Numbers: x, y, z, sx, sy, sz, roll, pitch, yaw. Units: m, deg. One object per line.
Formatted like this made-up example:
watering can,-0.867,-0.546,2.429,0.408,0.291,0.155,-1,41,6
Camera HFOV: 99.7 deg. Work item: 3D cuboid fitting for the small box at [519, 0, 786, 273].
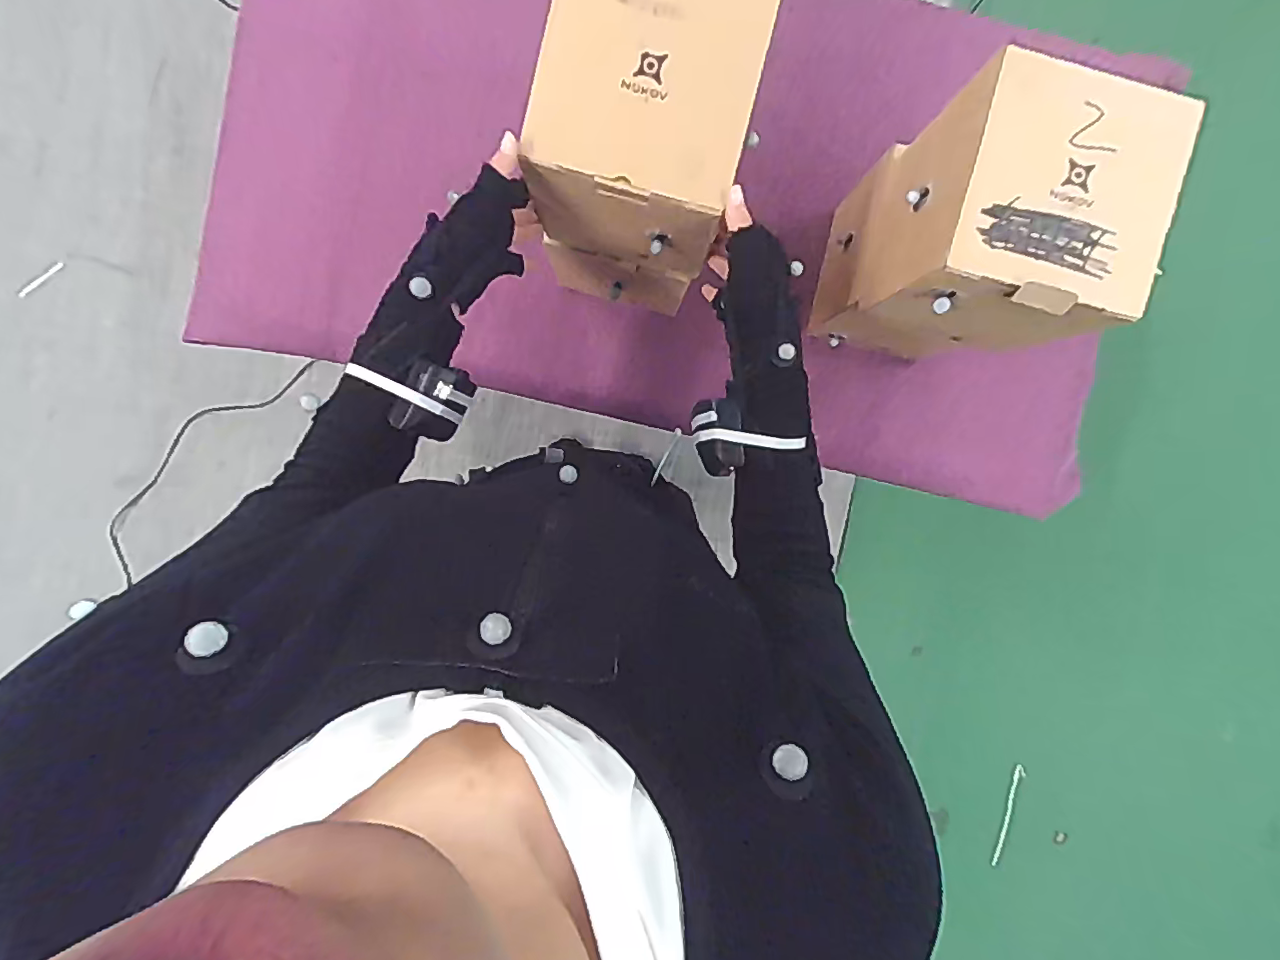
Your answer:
small box,0.006,-0.308,0.482,0.168,0.176,0.179,15,94,-4

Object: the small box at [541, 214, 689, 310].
small box,-0.007,-0.320,0.645,0.168,0.176,0.179,15,94,-4

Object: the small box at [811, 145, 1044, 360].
small box,0.329,-0.256,0.660,0.168,0.176,0.179,16,94,-5
